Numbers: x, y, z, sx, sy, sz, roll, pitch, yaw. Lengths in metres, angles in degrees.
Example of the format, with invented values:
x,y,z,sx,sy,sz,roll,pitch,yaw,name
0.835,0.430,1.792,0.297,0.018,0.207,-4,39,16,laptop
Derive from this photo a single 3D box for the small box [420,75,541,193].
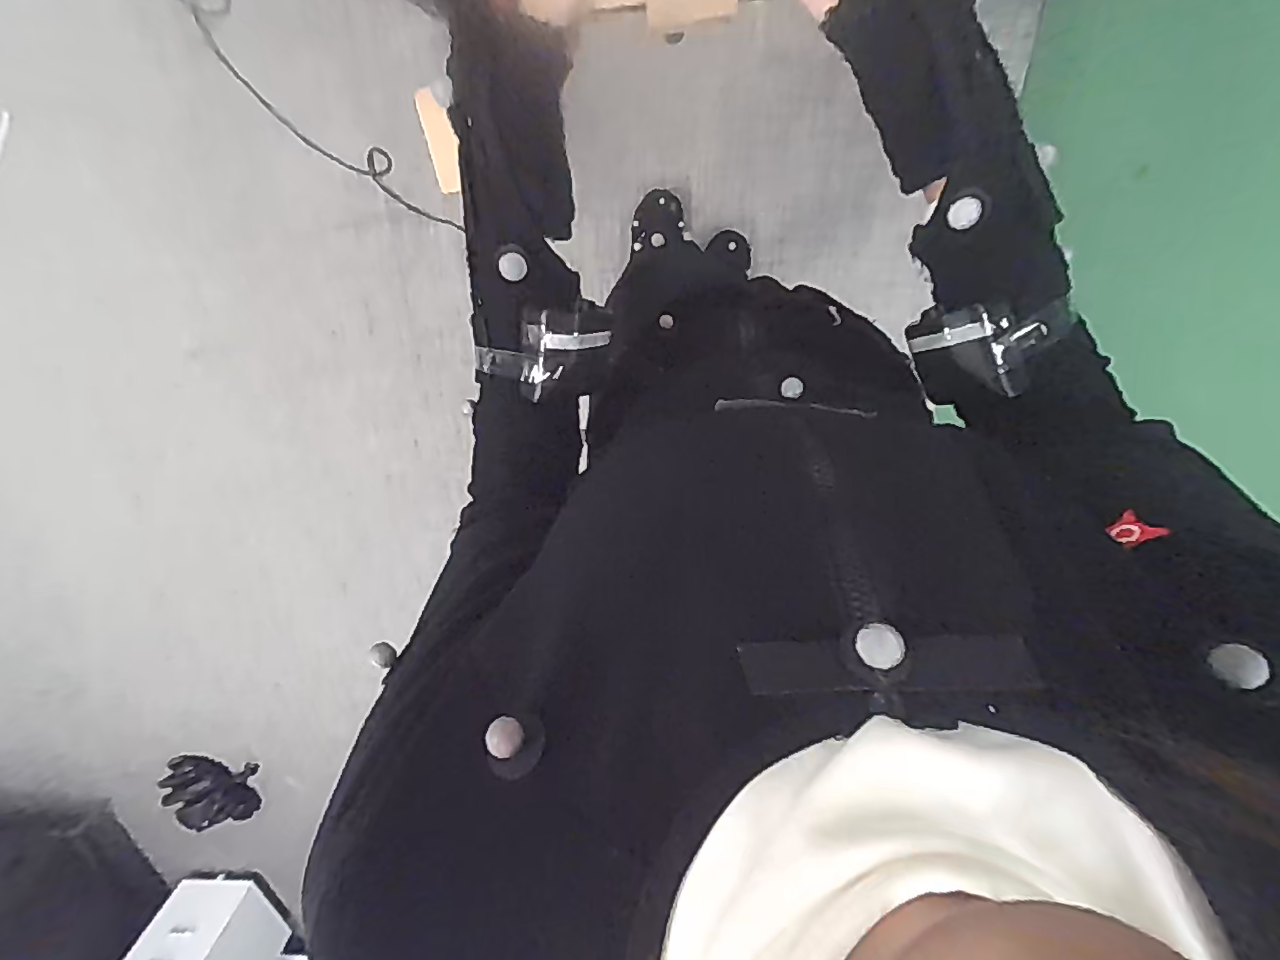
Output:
x,y,z,sx,sy,sz,roll,pitch,yaw,name
-0.315,-0.696,1.106,0.168,0.176,0.179,-5,118,8,small box
